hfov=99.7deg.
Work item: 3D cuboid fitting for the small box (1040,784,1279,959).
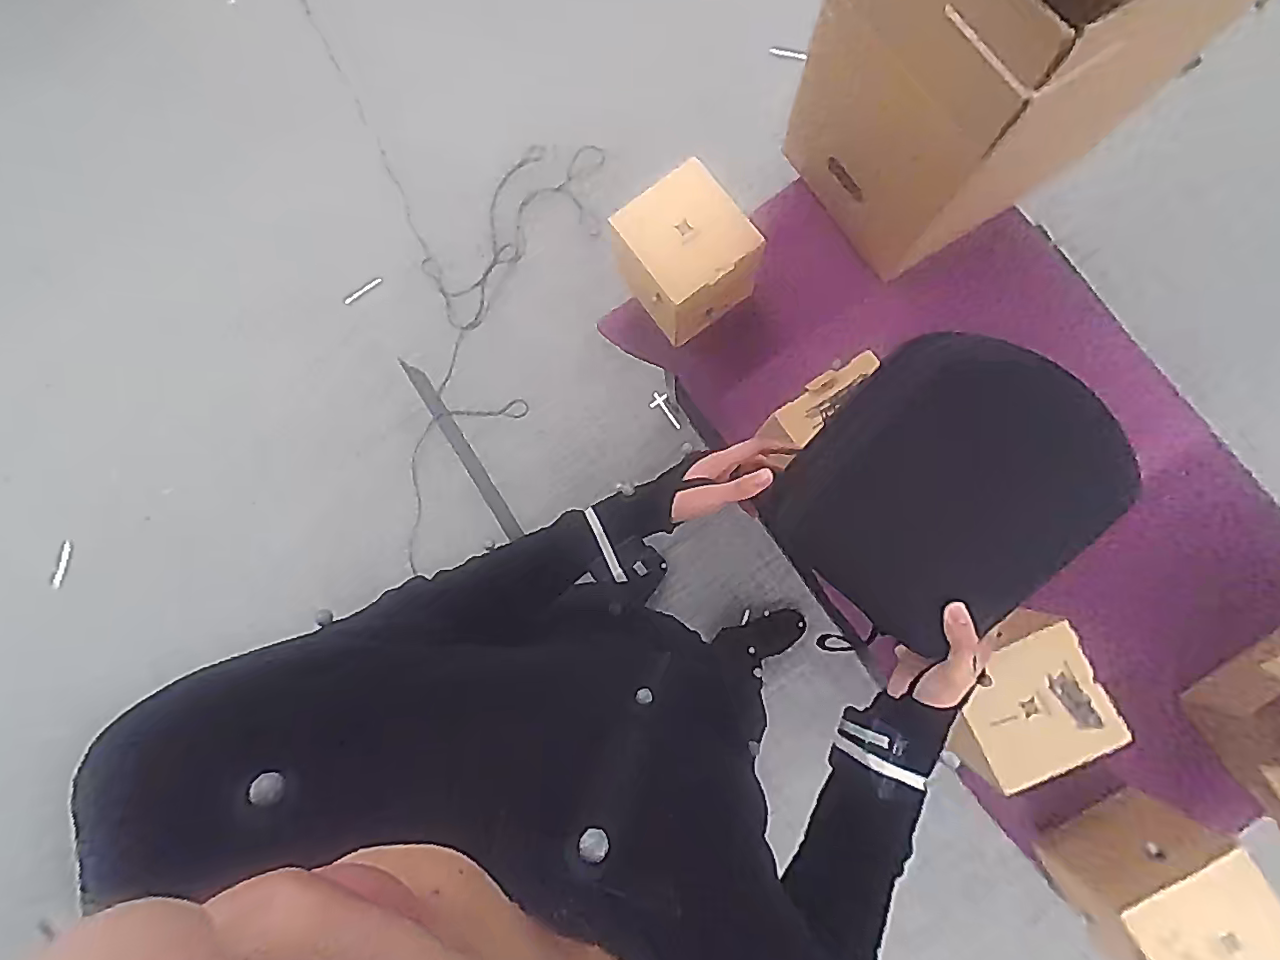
[{"bbox_3d":[0.704,0.553,0.728,0.179,0.176,0.168,-29,82,0],"label":"small box"}]

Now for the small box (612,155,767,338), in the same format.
[{"bbox_3d":[0.075,-0.362,0.871,0.168,0.176,0.179,-37,84,-1],"label":"small box"}]
